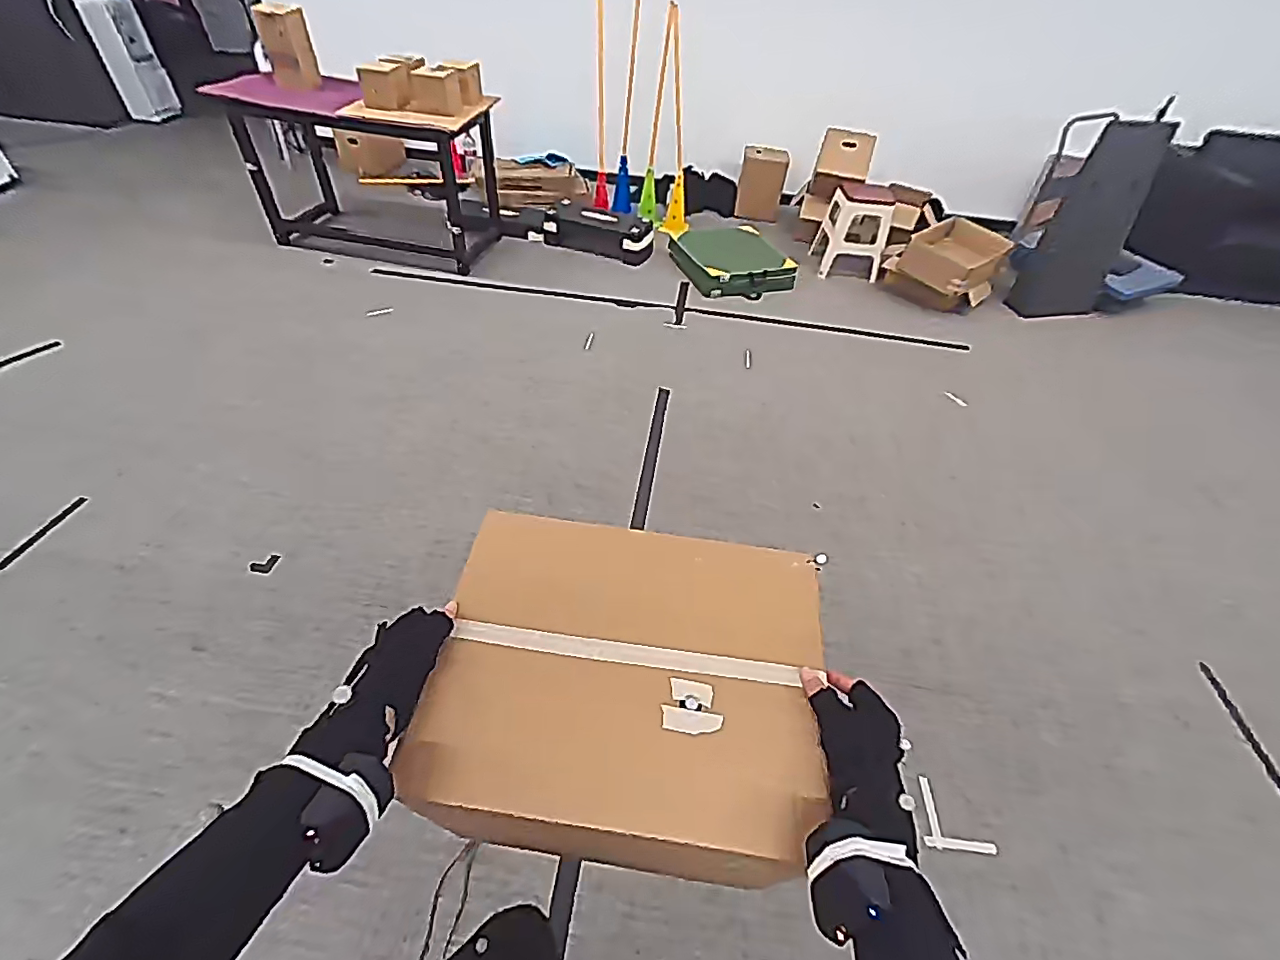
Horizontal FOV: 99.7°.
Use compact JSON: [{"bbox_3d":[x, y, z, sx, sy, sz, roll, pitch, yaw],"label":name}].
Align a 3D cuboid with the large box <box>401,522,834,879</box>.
[{"bbox_3d":[-0.016,0.285,0.692,0.408,0.320,0.320,7,51,2],"label":"large box"}]
